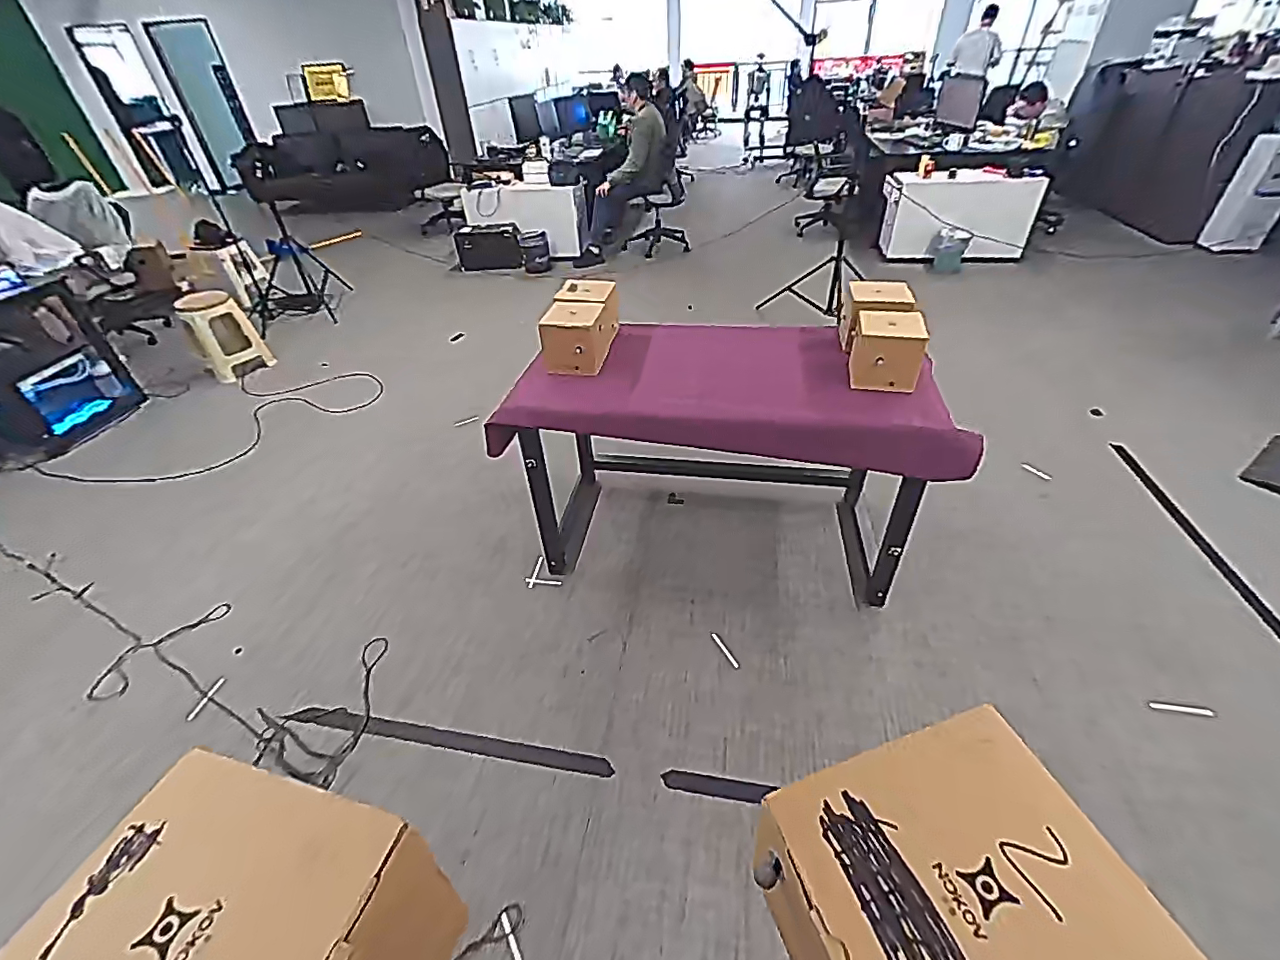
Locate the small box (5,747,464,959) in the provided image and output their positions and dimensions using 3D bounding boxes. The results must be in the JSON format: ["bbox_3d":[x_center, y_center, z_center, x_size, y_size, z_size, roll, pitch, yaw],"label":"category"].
[{"bbox_3d":[-0.235,0.306,0.335,0.179,0.176,0.168,9,38,13],"label":"small box"}]

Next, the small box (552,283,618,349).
[{"bbox_3d":[-0.180,-0.557,1.839,0.179,0.176,0.168,6,42,10],"label":"small box"}]

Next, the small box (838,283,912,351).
[{"bbox_3d":[0.730,-0.508,1.703,0.179,0.176,0.168,5,41,10],"label":"small box"}]

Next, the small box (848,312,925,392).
[{"bbox_3d":[0.693,-0.363,1.537,0.168,0.176,0.179,6,39,14],"label":"small box"}]
